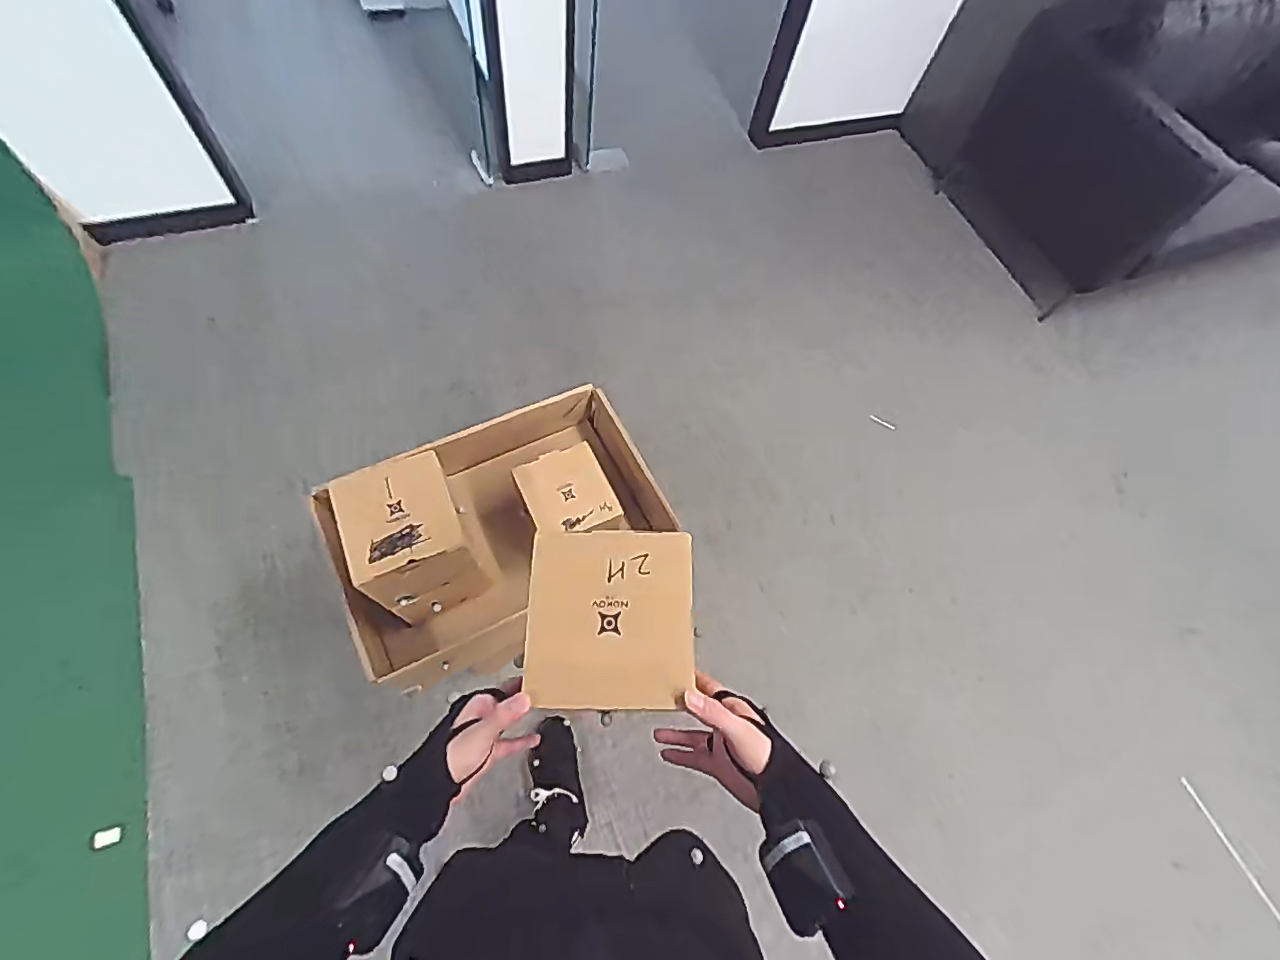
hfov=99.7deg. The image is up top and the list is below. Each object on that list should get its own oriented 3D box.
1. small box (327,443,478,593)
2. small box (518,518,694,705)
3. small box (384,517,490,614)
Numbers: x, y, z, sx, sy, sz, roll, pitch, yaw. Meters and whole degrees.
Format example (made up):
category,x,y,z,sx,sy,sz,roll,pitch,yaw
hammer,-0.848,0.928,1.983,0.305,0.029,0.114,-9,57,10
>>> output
category,x,y,z,sx,sy,sz,roll,pitch,yaw
small box,-0.376,0.071,0.879,0.168,0.176,0.179,-19,69,-16
small box,-0.029,0.152,0.600,0.168,0.176,0.179,2,67,-1
small box,-0.399,0.140,1.026,0.168,0.176,0.179,-23,70,-17
